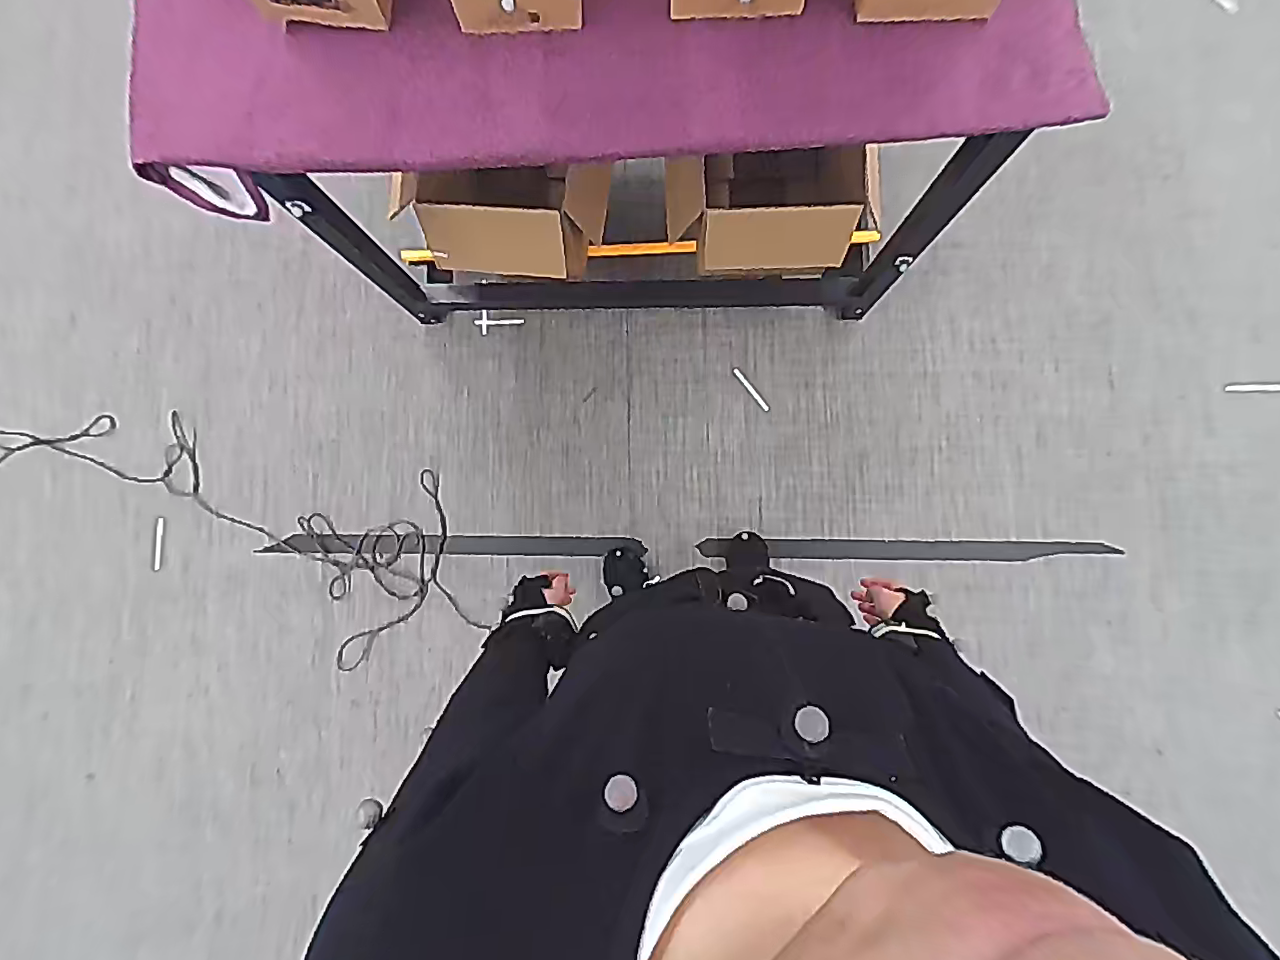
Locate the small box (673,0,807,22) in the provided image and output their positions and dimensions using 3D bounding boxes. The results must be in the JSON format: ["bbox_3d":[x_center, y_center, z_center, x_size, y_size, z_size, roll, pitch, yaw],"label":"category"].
[{"bbox_3d":[0.130,-0.711,0.657,0.179,0.176,0.168,1,84,3],"label":"small box"}]

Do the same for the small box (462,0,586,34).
[{"bbox_3d":[-0.158,-0.708,0.671,0.168,0.176,0.179,-1,85,2],"label":"small box"}]

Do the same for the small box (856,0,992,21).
[{"bbox_3d":[0.376,-0.697,0.646,0.179,0.176,0.168,1,83,2],"label":"small box"}]
